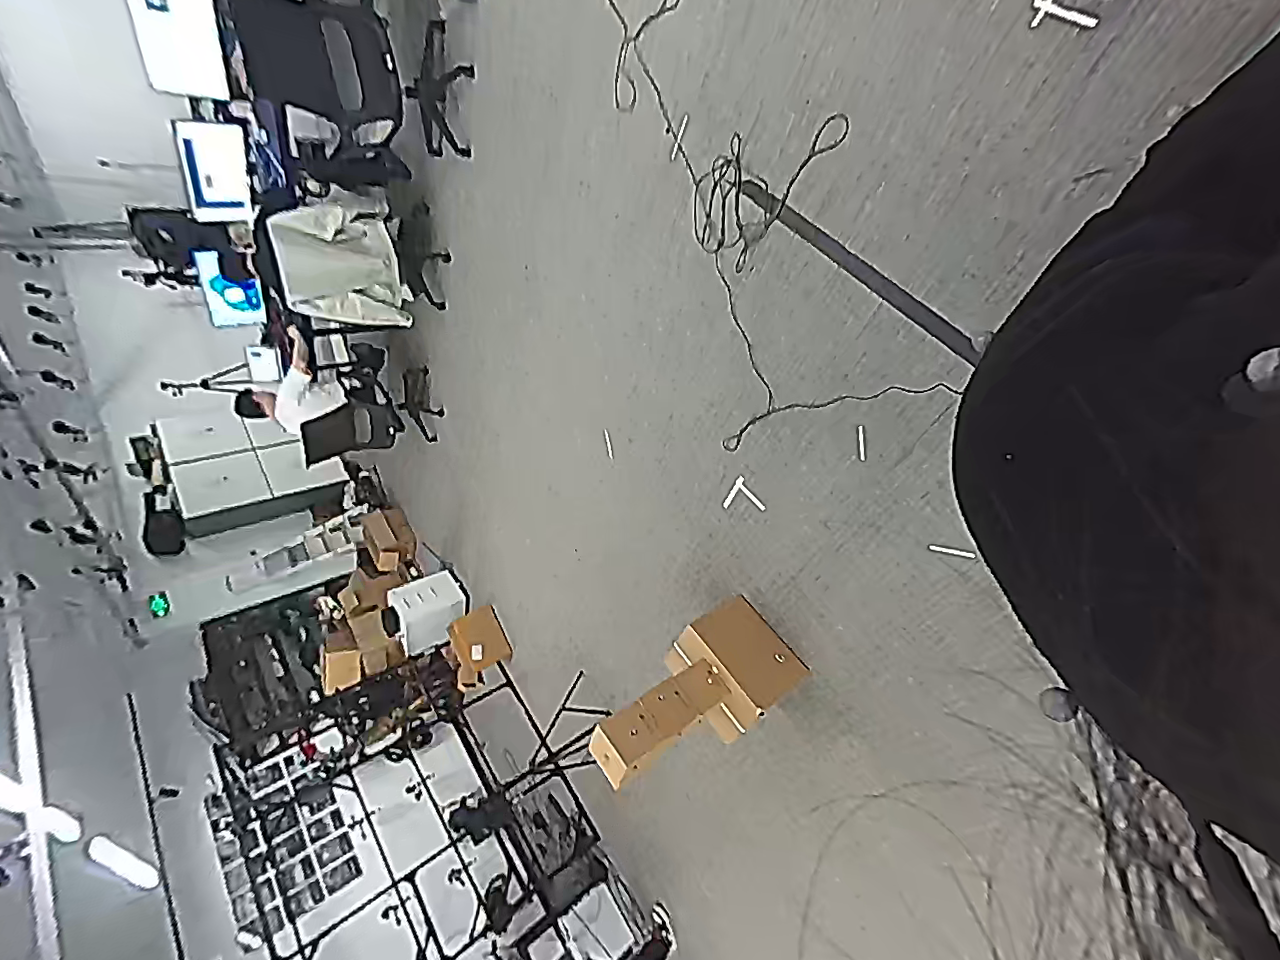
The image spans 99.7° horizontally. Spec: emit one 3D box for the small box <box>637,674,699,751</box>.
[{"bbox_3d":[0.084,0.822,1.913,0.168,0.176,0.179,48,138,28],"label":"small box"}]

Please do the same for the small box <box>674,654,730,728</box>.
[{"bbox_3d":[0.207,0.786,2.013,0.168,0.176,0.179,48,137,27],"label":"small box"}]

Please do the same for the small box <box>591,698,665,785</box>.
[{"bbox_3d":[-0.039,0.871,1.815,0.168,0.176,0.179,45,136,32],"label":"small box"}]
